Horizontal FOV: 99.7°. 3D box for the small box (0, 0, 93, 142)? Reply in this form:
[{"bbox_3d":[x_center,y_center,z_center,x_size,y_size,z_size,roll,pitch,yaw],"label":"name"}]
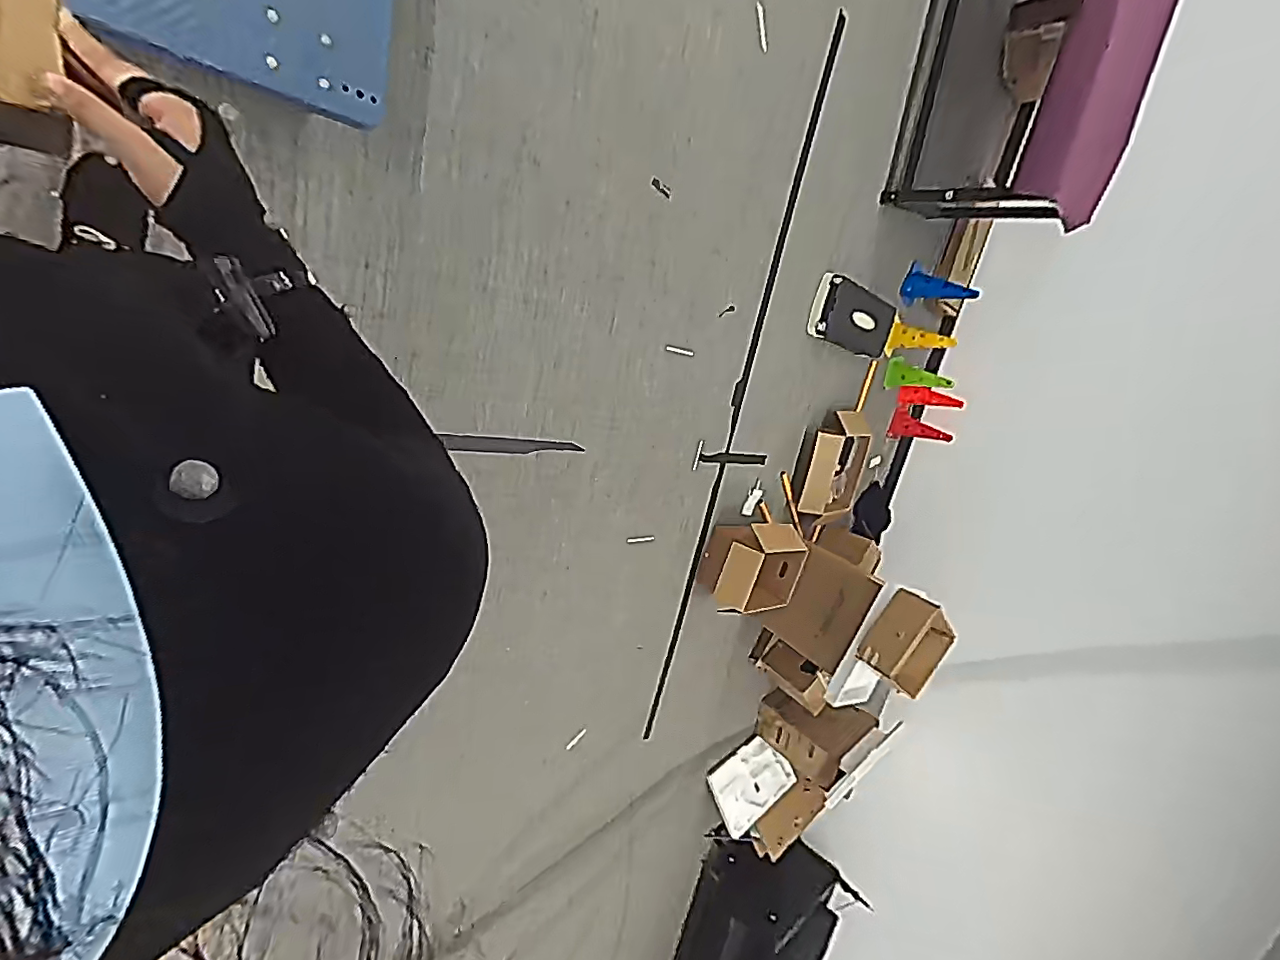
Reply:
[{"bbox_3d":[-0.463,-0.342,0.332,0.168,0.176,0.179,-6,109,-44],"label":"small box"}]

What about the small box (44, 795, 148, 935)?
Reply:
[{"bbox_3d":[-1.283,0.902,1.285,0.168,0.176,0.179,-3,111,-43],"label":"small box"}]
